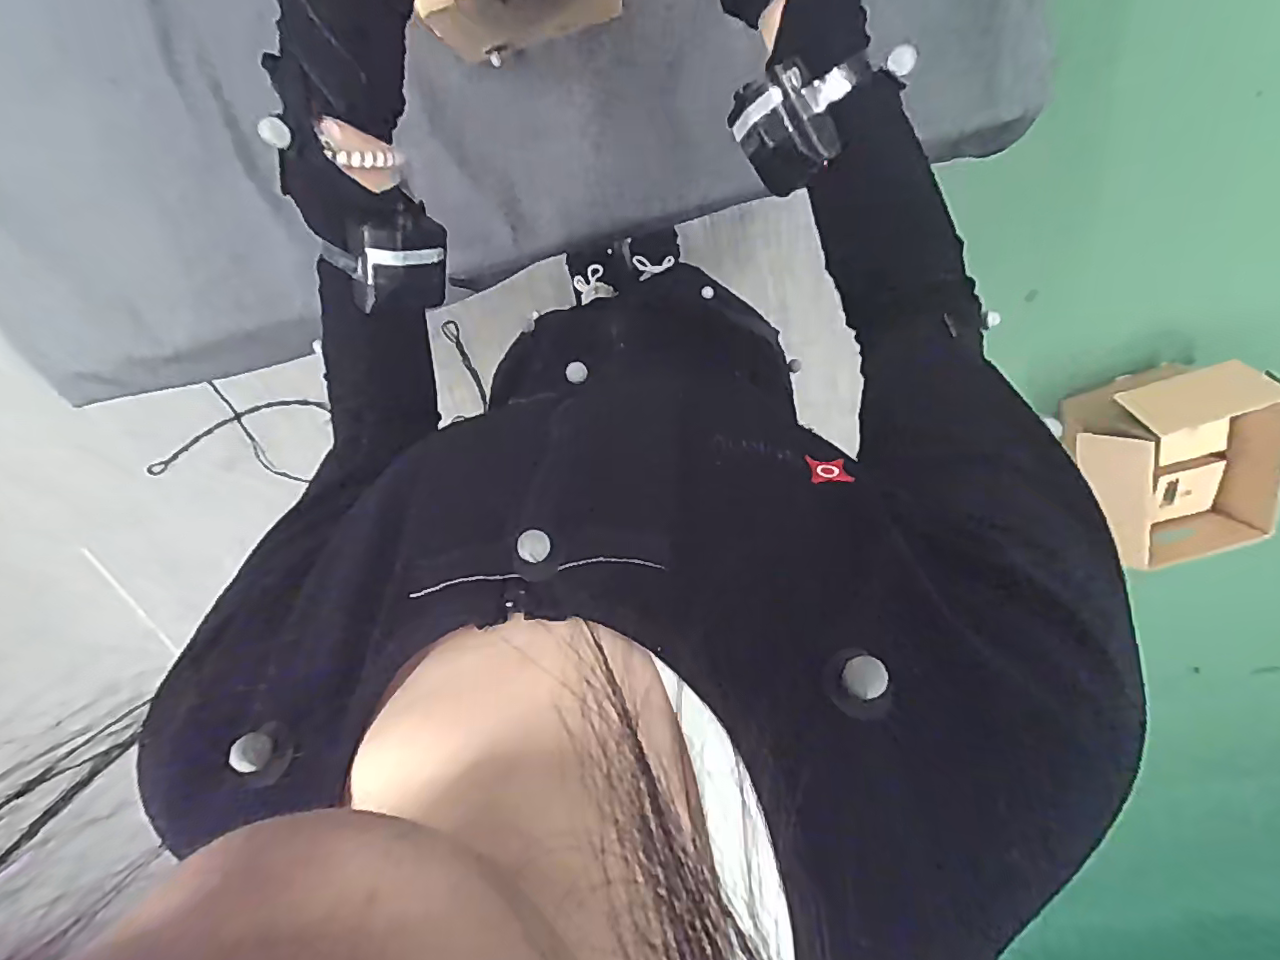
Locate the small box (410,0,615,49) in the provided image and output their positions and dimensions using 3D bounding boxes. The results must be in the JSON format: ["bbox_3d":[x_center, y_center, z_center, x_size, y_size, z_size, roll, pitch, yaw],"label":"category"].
[{"bbox_3d":[-0.119,-0.488,0.441,0.168,0.176,0.179,-15,115,6],"label":"small box"}]
